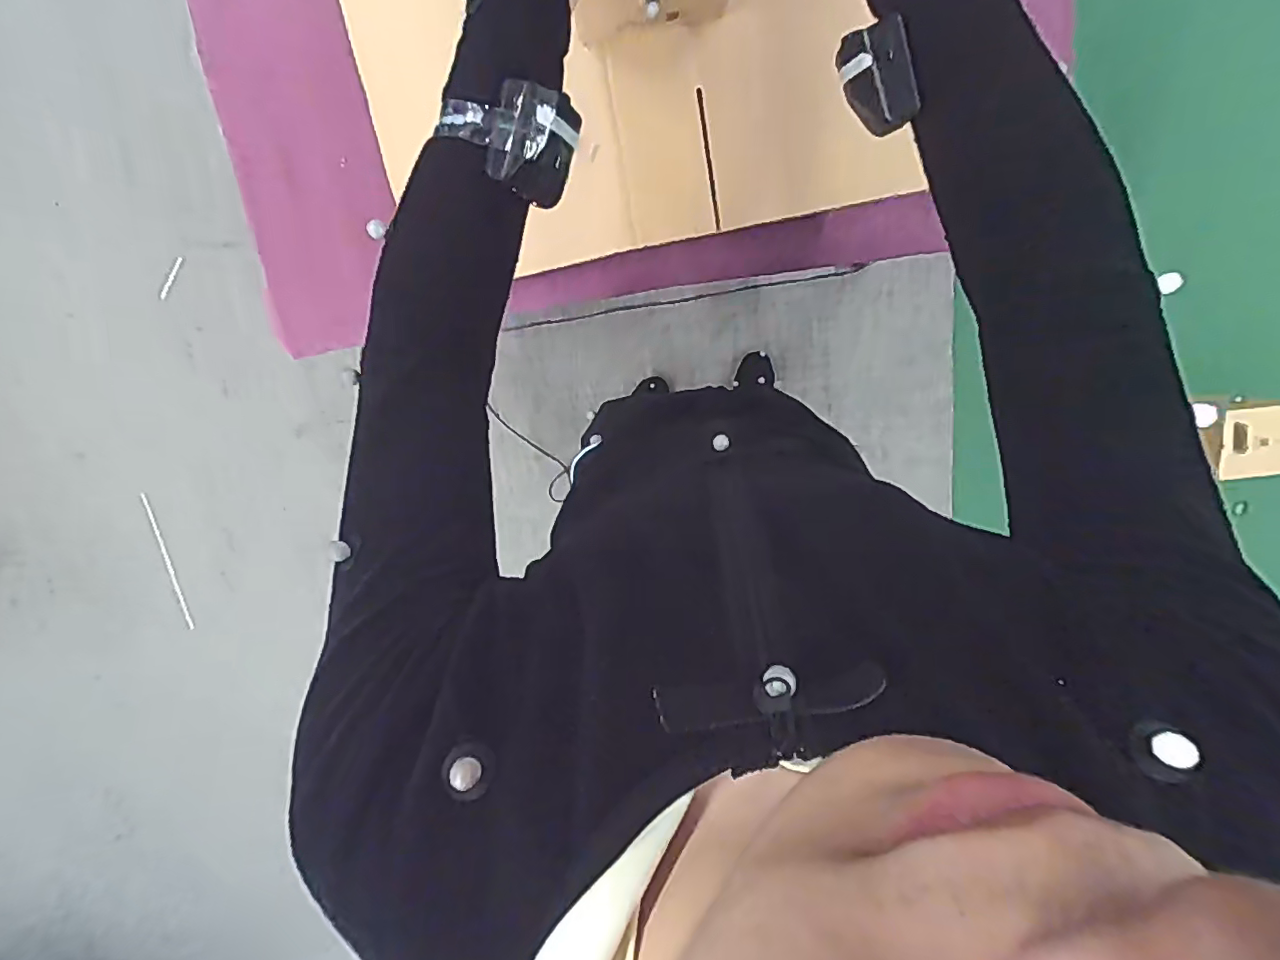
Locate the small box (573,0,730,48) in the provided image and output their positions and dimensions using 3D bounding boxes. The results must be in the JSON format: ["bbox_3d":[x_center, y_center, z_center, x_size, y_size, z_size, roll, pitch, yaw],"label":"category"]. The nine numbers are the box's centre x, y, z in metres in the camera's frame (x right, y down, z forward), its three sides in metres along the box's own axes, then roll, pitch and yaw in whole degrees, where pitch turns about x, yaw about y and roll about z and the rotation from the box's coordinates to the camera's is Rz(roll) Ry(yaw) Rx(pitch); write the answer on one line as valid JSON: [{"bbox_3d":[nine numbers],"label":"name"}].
[{"bbox_3d":[0.003,-0.559,0.505,0.168,0.176,0.179,-9,103,3],"label":"small box"}]

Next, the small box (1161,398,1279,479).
[{"bbox_3d":[1.431,-0.104,1.314,0.179,0.176,0.168,-6,103,3],"label":"small box"}]
